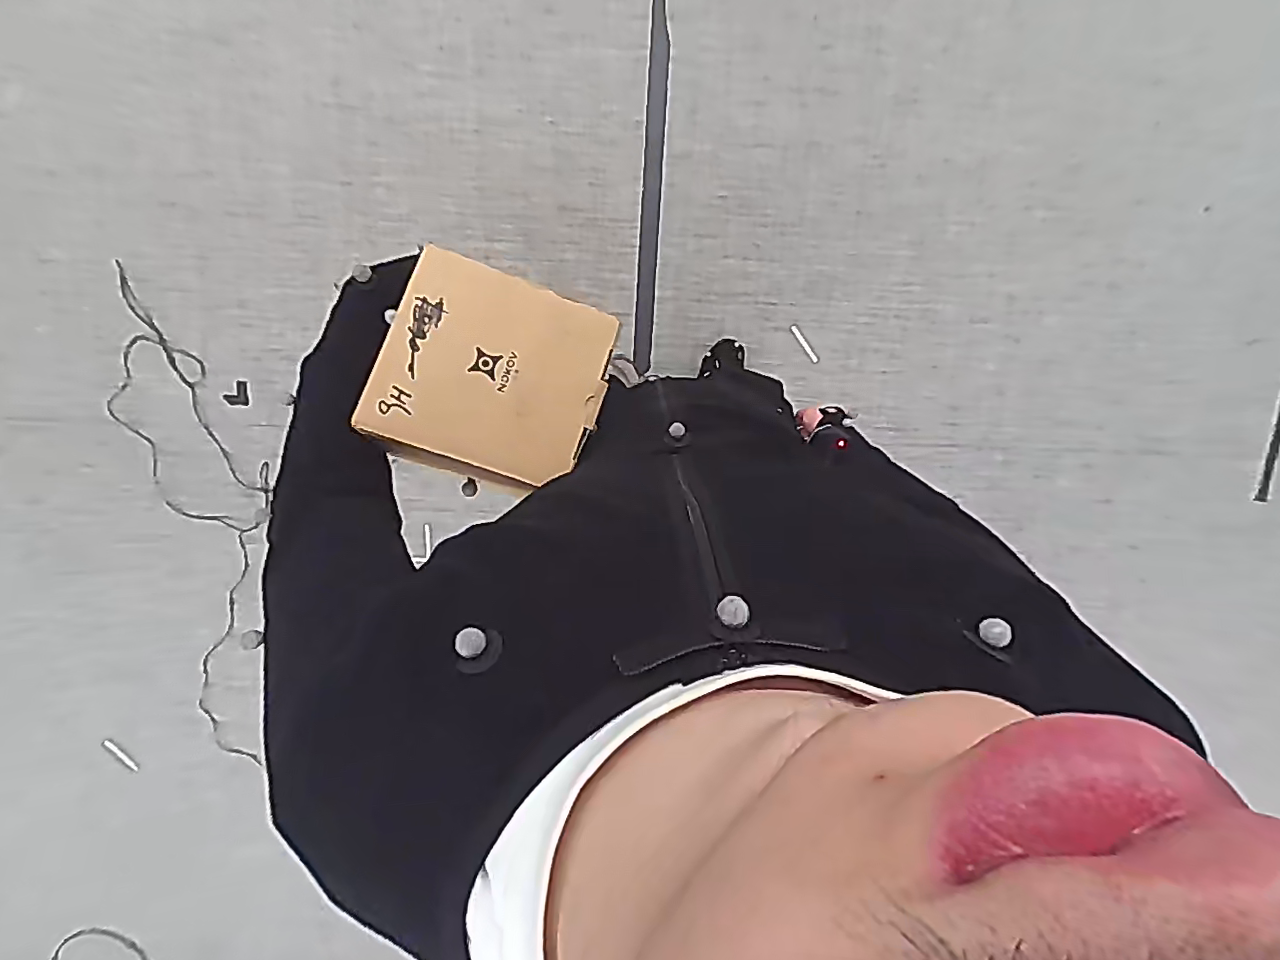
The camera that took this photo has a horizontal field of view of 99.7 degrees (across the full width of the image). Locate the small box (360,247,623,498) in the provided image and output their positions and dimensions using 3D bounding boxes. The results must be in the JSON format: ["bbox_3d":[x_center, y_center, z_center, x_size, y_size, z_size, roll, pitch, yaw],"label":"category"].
[{"bbox_3d":[-0.137,-0.085,0.531,0.179,0.176,0.168,19,79,-11],"label":"small box"}]
